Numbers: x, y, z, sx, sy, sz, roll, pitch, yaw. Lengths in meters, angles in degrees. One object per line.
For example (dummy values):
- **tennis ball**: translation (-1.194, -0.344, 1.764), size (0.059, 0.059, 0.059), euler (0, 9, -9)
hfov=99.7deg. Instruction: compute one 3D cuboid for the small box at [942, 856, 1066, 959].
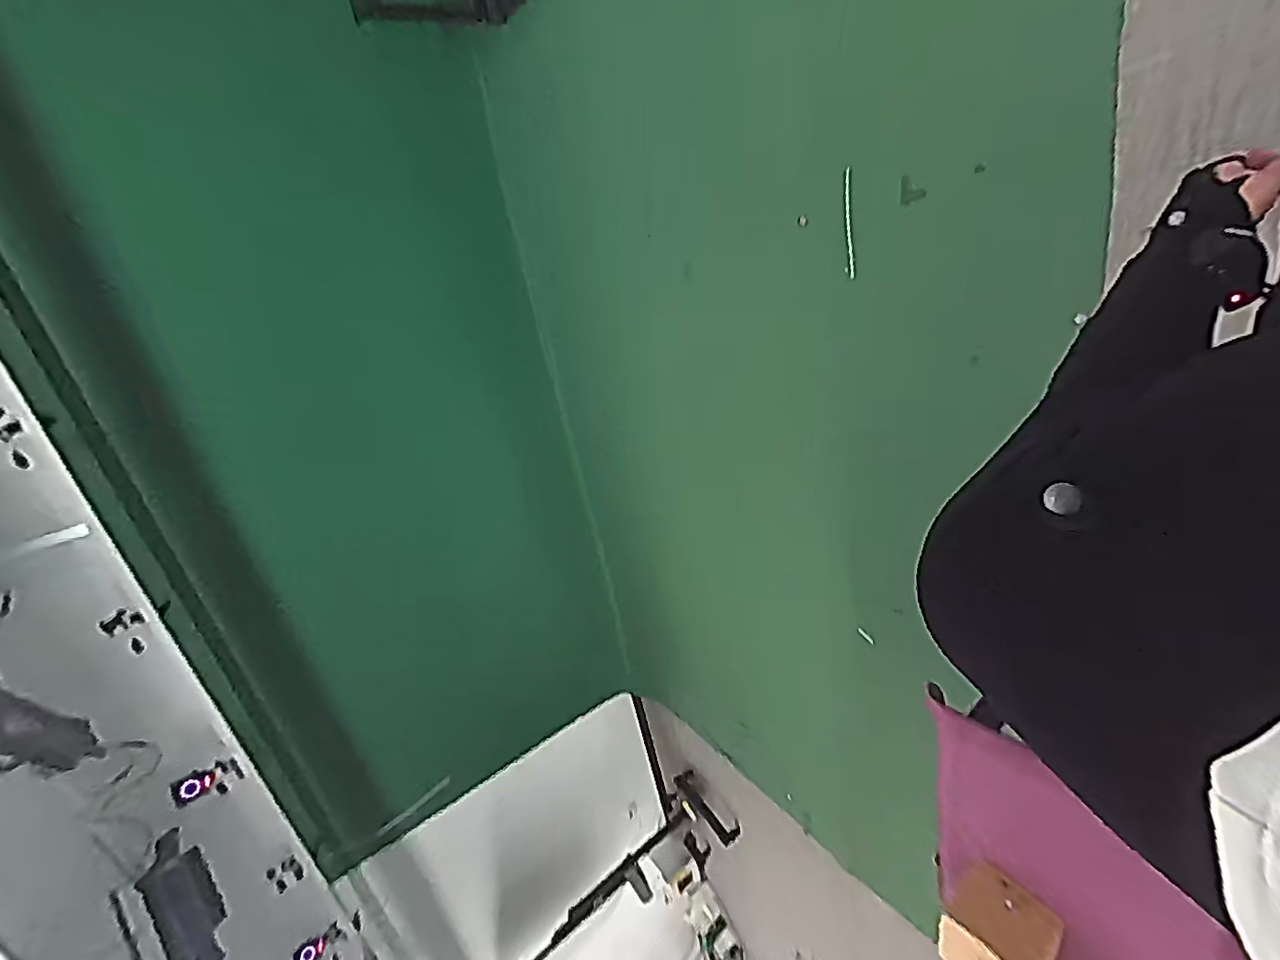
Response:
- **small box**: translation (0.786, 0.979, 1.171), size (0.168, 0.176, 0.179), euler (22, 130, 51)
